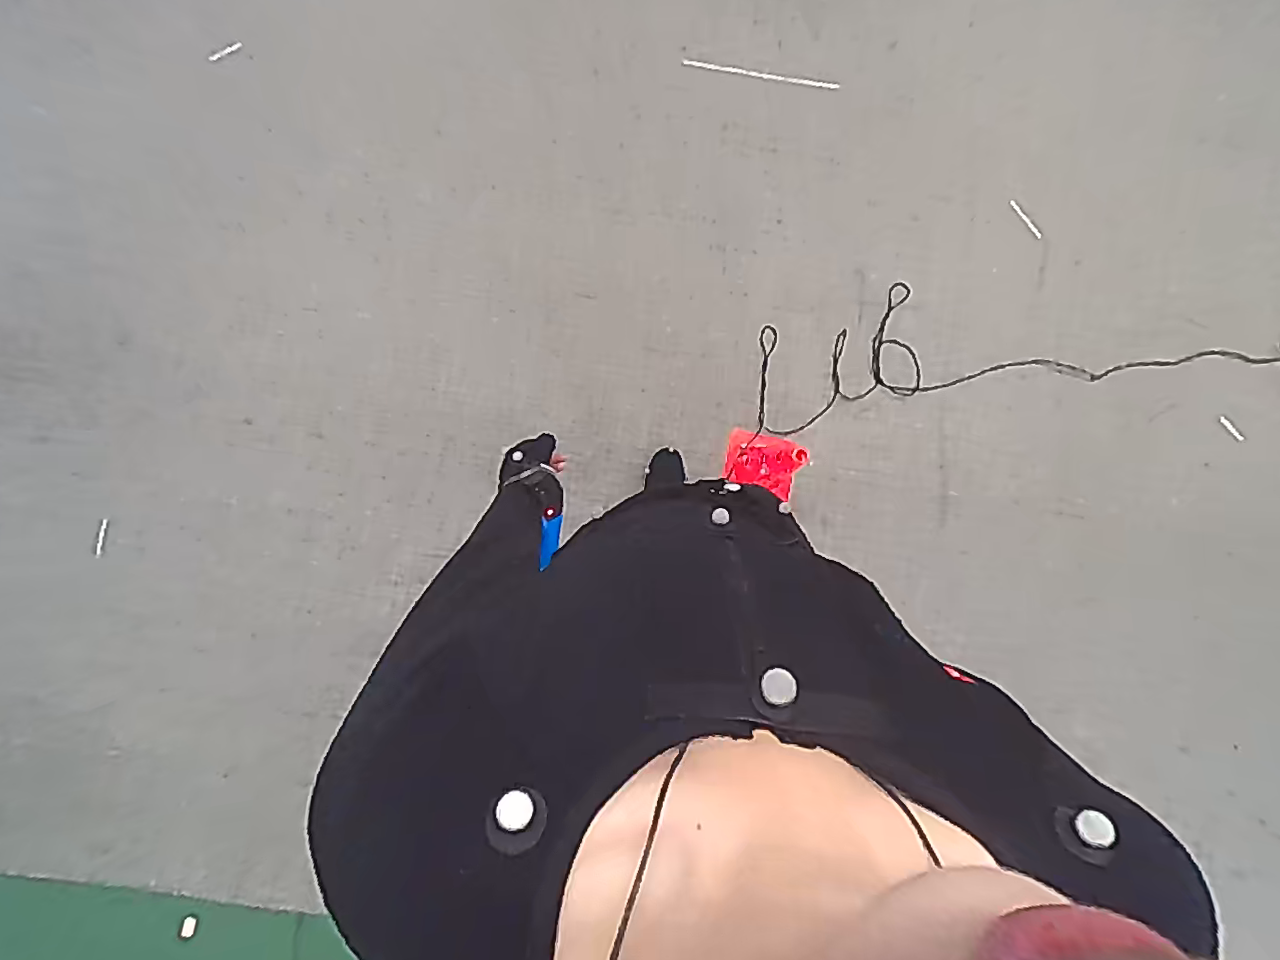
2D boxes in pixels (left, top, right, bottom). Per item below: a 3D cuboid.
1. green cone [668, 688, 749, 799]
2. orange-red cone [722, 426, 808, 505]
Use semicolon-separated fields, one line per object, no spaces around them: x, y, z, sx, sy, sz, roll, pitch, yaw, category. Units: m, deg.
0.198;0.664;1.298;0.200;0.368;0.202;11;85;-2;green cone
0.347;-0.050;1.358;0.198;0.360;0.199;13;87;-1;orange-red cone
